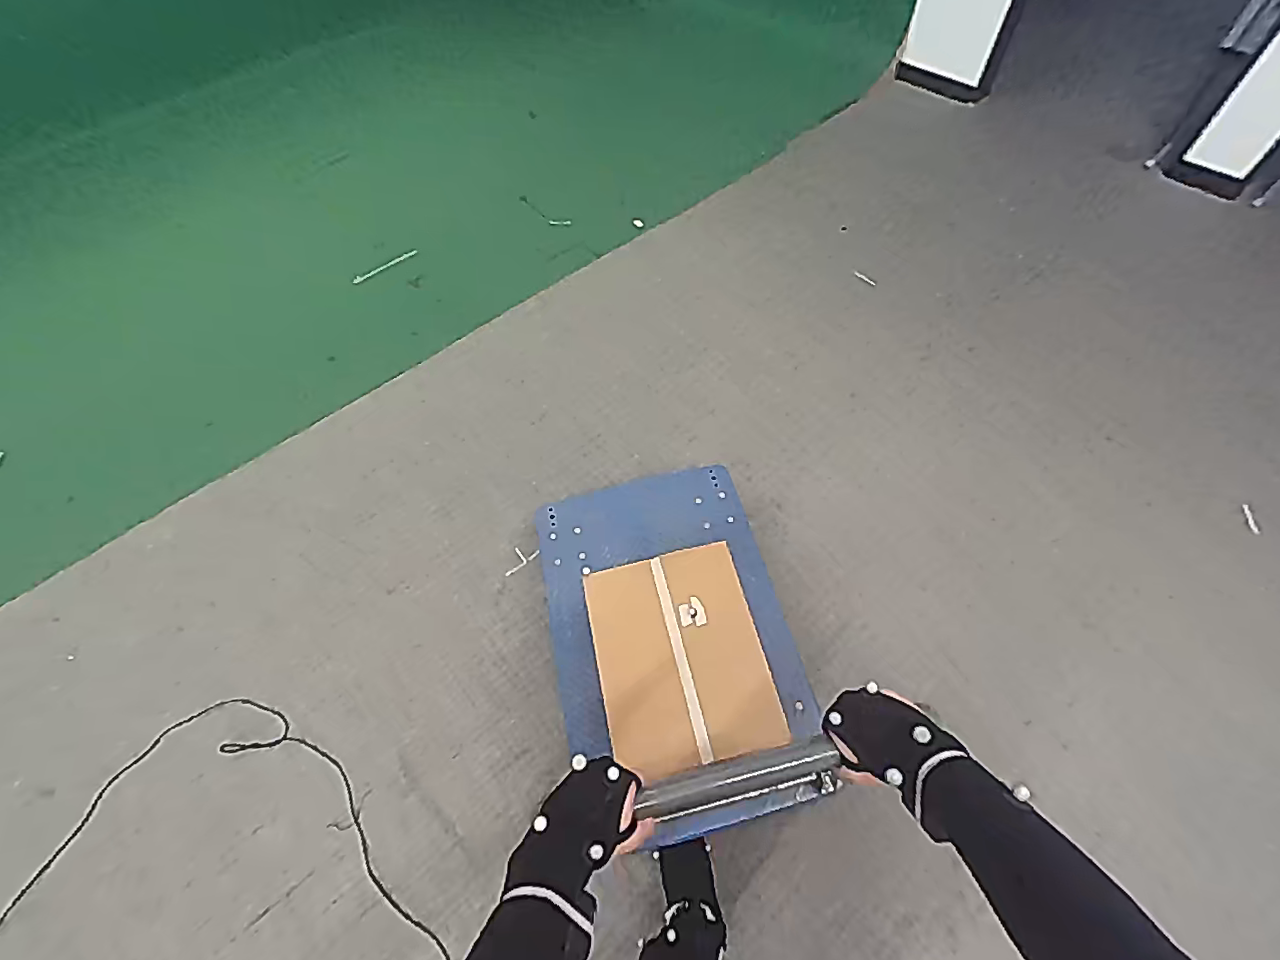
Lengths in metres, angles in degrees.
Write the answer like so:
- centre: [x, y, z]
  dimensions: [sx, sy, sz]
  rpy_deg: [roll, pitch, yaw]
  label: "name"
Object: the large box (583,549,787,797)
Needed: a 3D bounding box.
- centre: [0.086, 0.423, 1.176]
  dimensions: [0.320, 0.320, 0.408]
  rpy_deg: [-13, 57, -3]
  label: "large box"
